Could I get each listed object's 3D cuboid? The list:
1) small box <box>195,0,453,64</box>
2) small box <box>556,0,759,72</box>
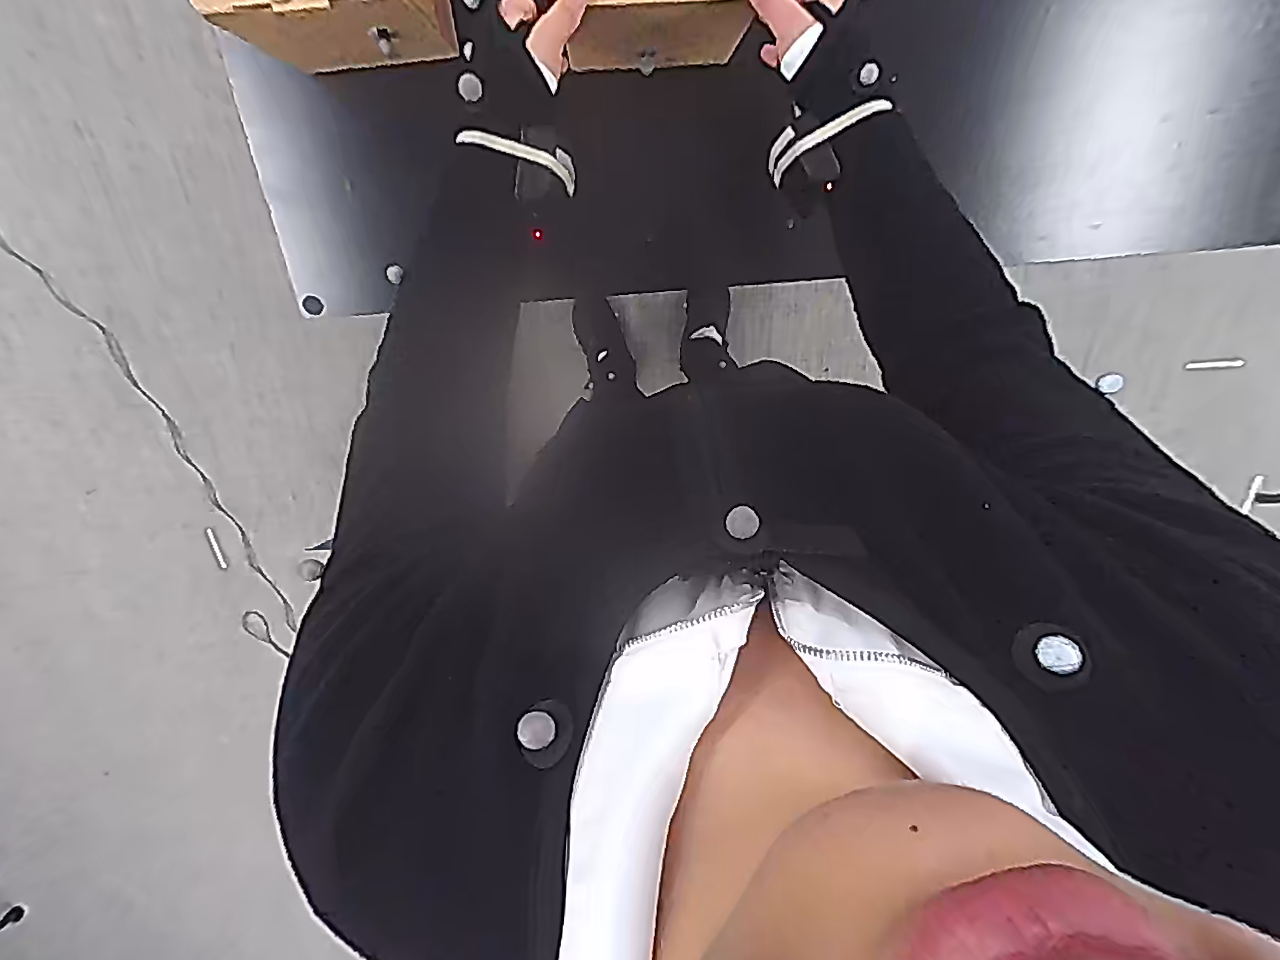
[{"bbox_3d":[-0.276,-0.483,0.461,0.168,0.176,0.179,-7,114,0],"label":"small box"},{"bbox_3d":[0.006,-0.482,0.463,0.168,0.176,0.179,-3,113,-2],"label":"small box"}]
